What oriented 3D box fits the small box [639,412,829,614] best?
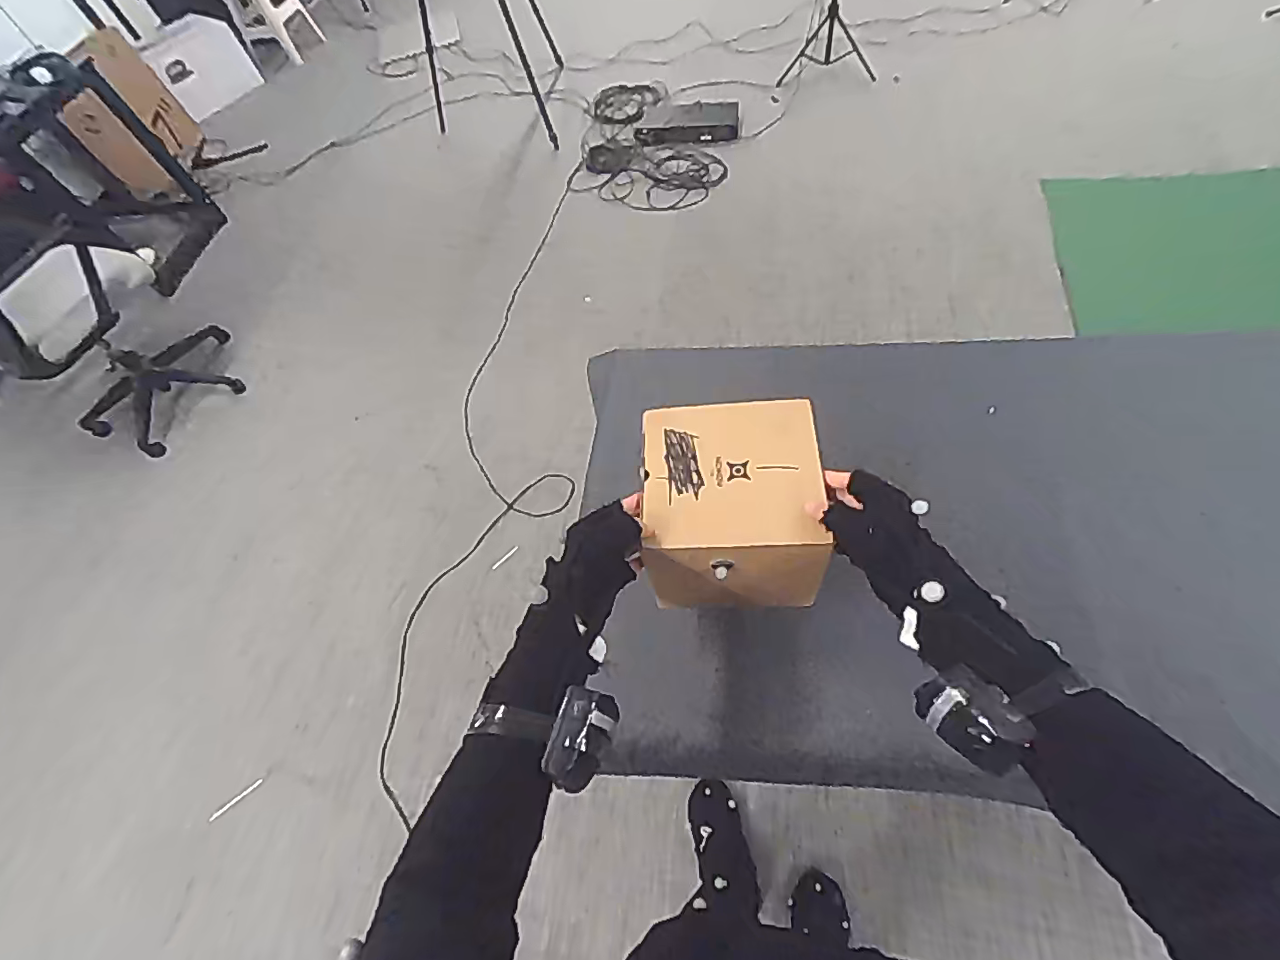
[{"bbox_3d":[0.099,0.044,0.602,0.179,0.176,0.168,-3,57,7],"label":"small box"}]
